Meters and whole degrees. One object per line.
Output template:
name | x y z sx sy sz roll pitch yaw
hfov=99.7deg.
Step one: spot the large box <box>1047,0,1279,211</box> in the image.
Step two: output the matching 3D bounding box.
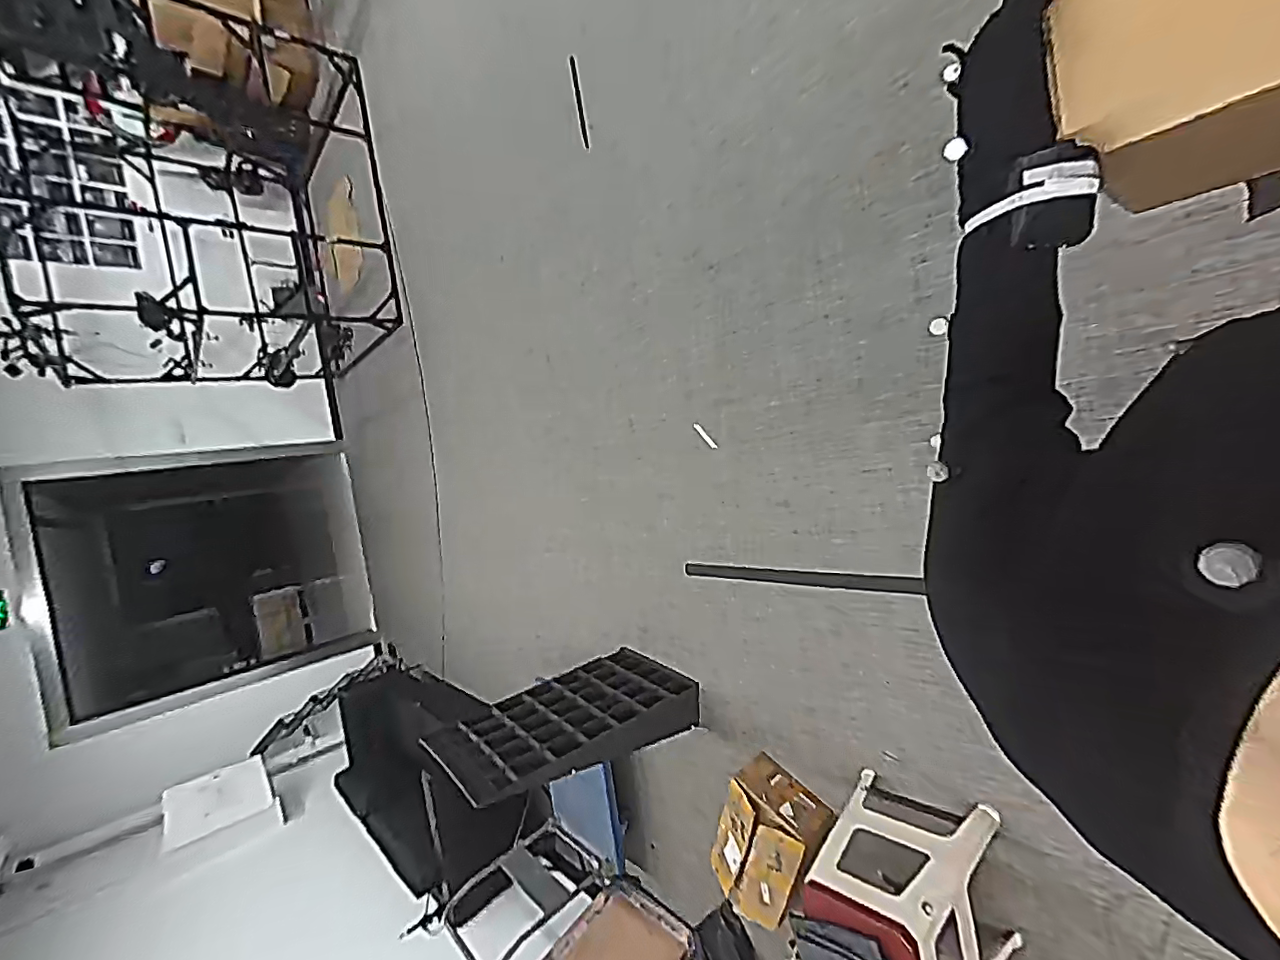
large box | 0.536 -0.432 0.349 0.408 0.320 0.320 -5 98 50
